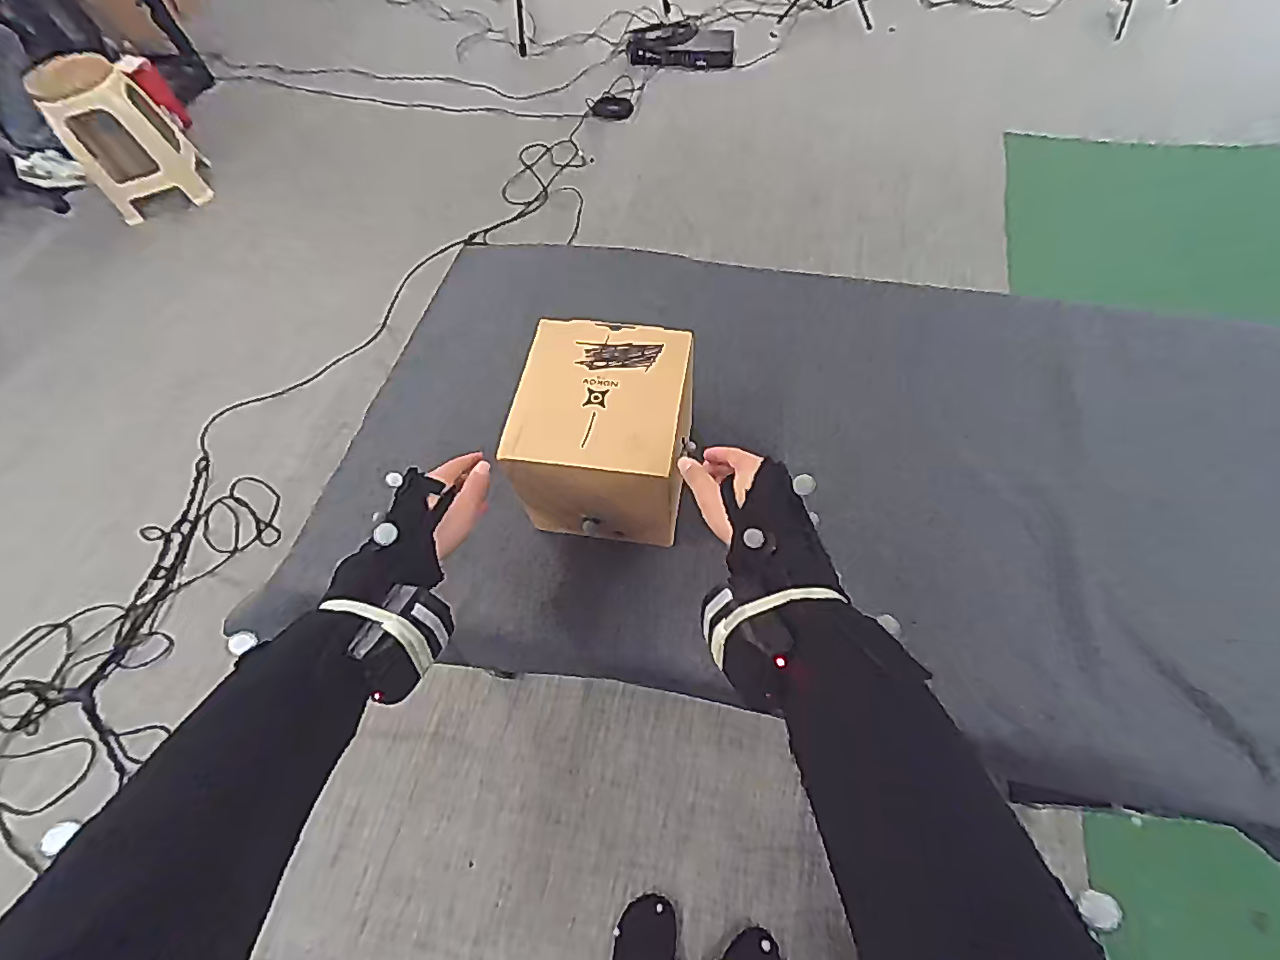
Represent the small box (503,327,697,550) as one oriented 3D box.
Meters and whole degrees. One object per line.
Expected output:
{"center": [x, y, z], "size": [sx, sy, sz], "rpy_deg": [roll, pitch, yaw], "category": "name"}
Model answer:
{"center": [-0.031, -0.042, 0.602], "size": [0.168, 0.176, 0.179], "rpy_deg": [6, 61, 8], "category": "small box"}
